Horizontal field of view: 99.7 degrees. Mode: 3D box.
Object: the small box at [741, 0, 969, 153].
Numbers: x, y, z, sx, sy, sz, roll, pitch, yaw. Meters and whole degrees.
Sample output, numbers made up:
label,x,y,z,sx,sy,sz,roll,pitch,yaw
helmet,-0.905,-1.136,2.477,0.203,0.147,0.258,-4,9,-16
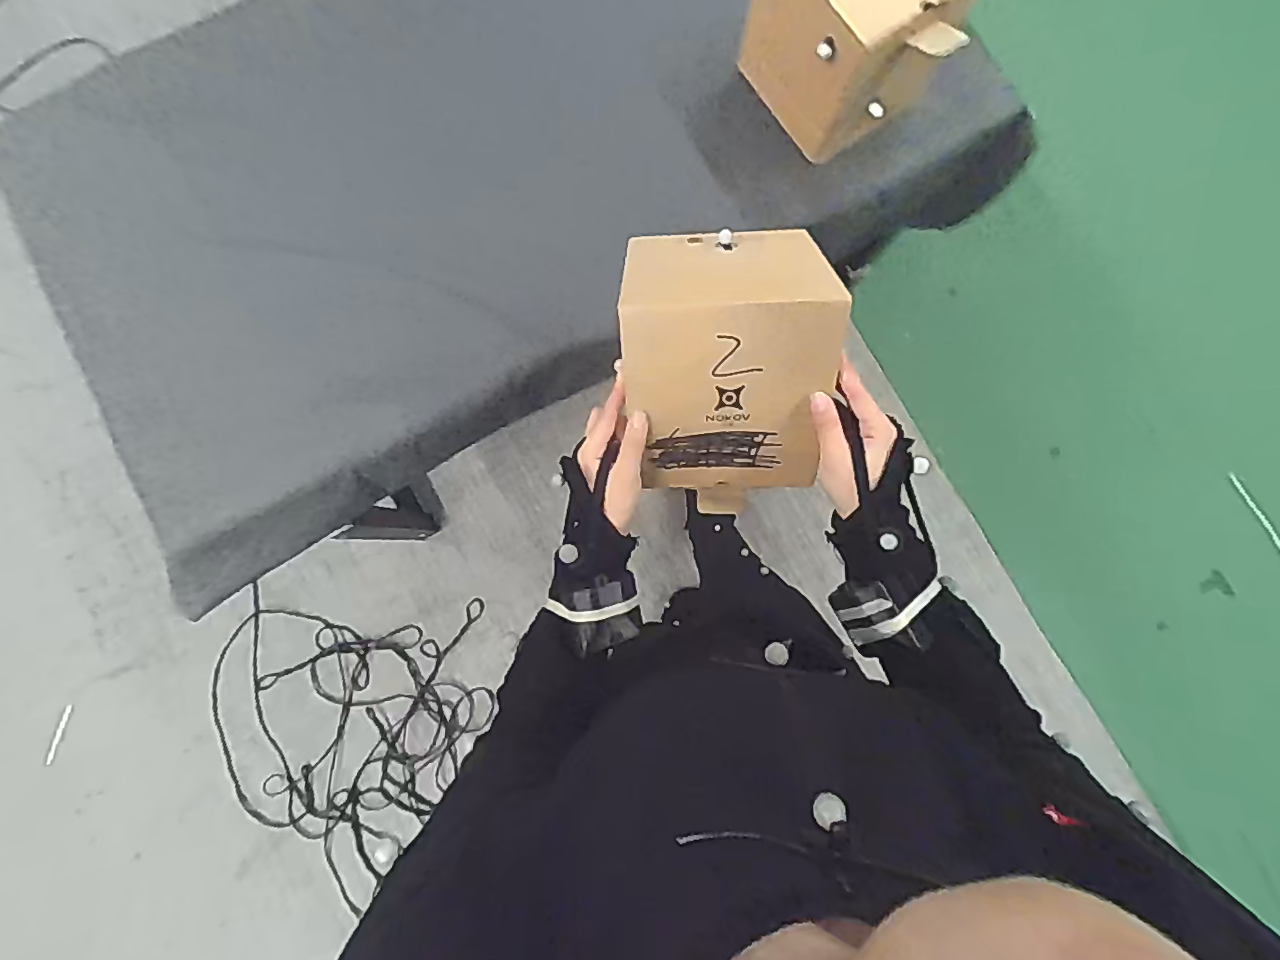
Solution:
label,x,y,z,sx,sy,sz,roll,pitch,yaw
small box,0.239,-0.535,0.627,0.168,0.176,0.179,-34,85,-4
